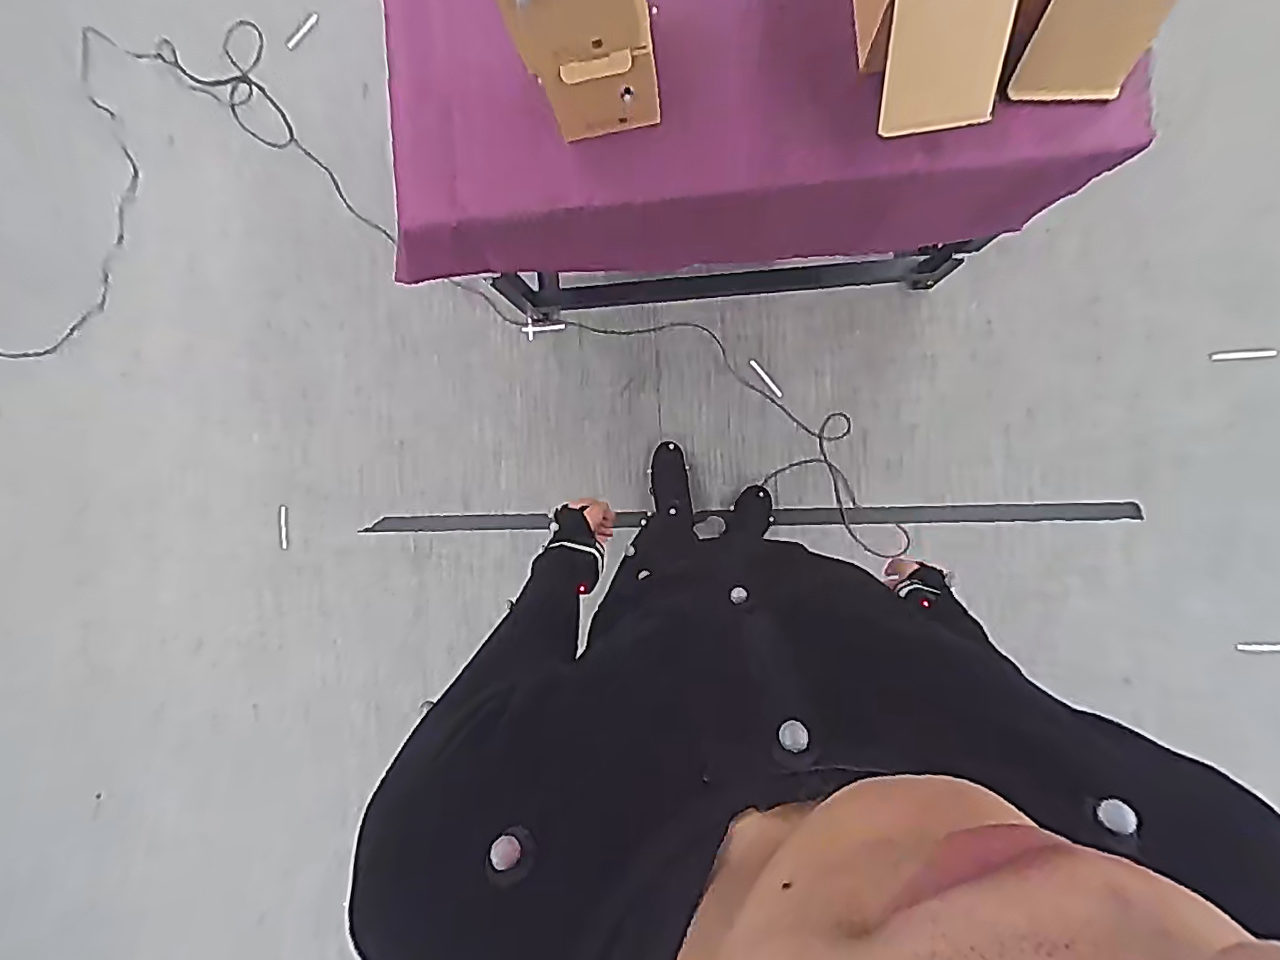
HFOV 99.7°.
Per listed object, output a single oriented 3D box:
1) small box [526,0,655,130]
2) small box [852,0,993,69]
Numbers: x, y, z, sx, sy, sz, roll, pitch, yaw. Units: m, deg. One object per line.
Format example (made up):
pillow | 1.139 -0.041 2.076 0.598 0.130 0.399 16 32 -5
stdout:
small box | -0.071 -0.674 0.832 0.168 0.176 0.179 -7 90 6
small box | 0.409 -0.747 0.777 0.168 0.176 0.179 -5 91 7
